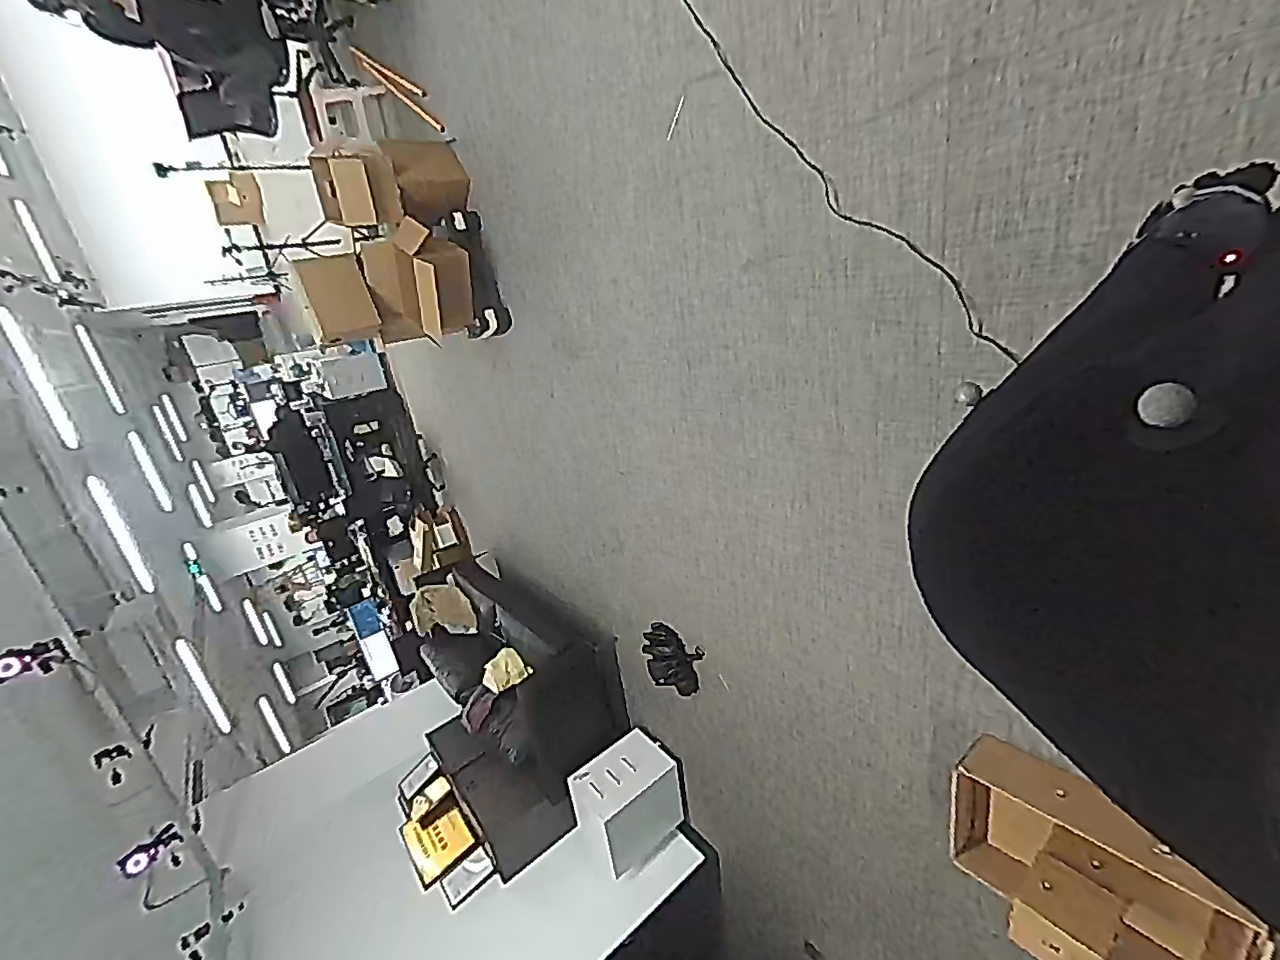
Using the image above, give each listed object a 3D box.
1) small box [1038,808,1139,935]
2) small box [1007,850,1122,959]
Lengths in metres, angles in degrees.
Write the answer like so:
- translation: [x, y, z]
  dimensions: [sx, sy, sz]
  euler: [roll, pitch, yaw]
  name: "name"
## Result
- translation: [1.180, 1.019, 1.427]
  dimensions: [0.179, 0.176, 0.168]
  euler: [13, 121, 51]
  name: "small box"
- translation: [1.034, 1.056, 1.321]
  dimensions: [0.179, 0.176, 0.168]
  euler: [14, 122, 51]
  name: "small box"
